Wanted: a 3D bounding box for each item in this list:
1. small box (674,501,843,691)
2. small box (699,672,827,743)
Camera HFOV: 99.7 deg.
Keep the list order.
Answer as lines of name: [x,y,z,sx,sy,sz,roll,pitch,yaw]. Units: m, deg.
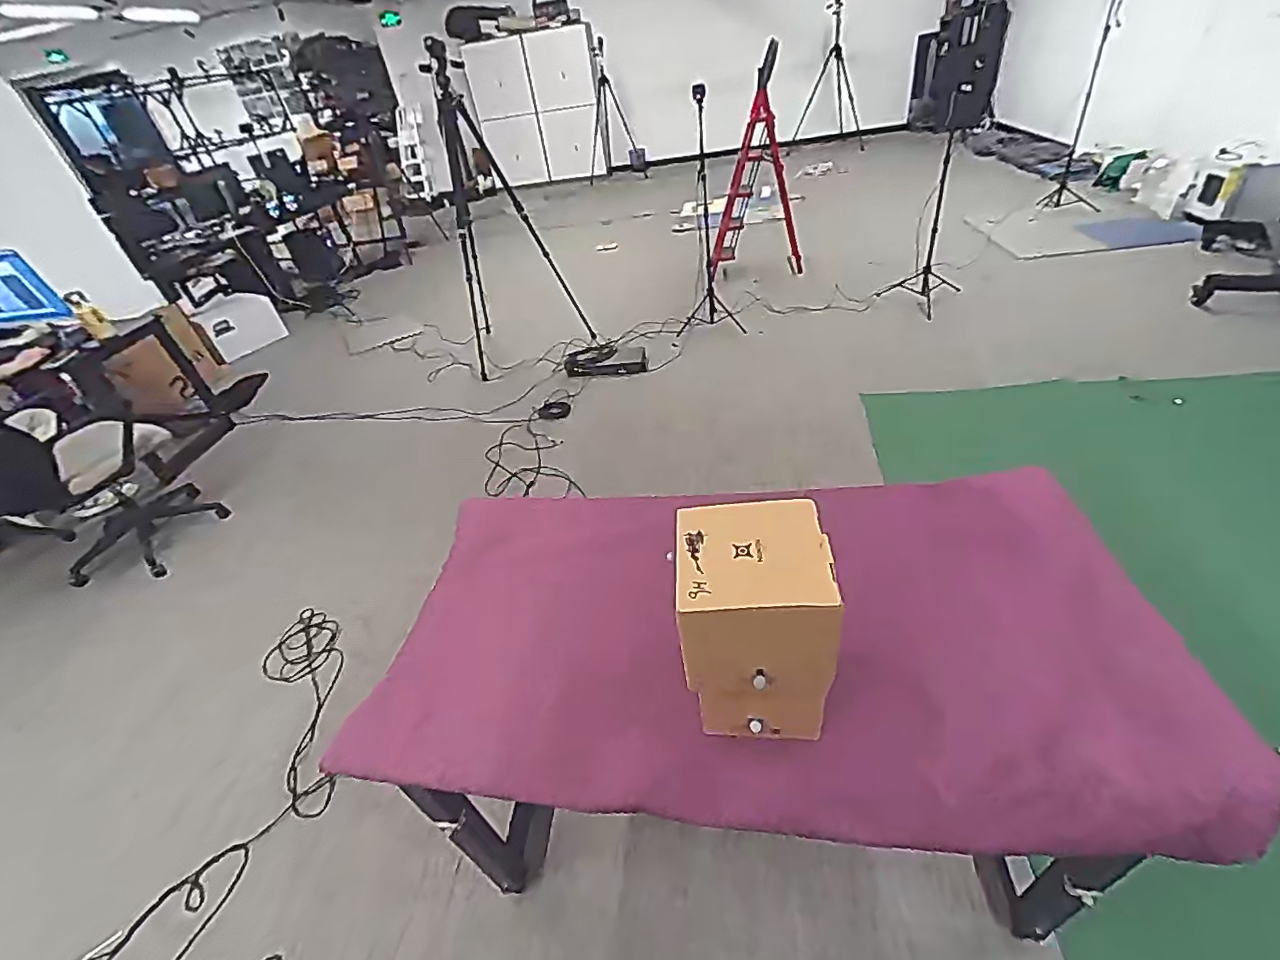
small box: [0.138,0.144,0.669,0.179,0.176,0.168,-4,39,8]
small box: [0.172,0.253,0.790,0.168,0.176,0.179,-2,39,11]
